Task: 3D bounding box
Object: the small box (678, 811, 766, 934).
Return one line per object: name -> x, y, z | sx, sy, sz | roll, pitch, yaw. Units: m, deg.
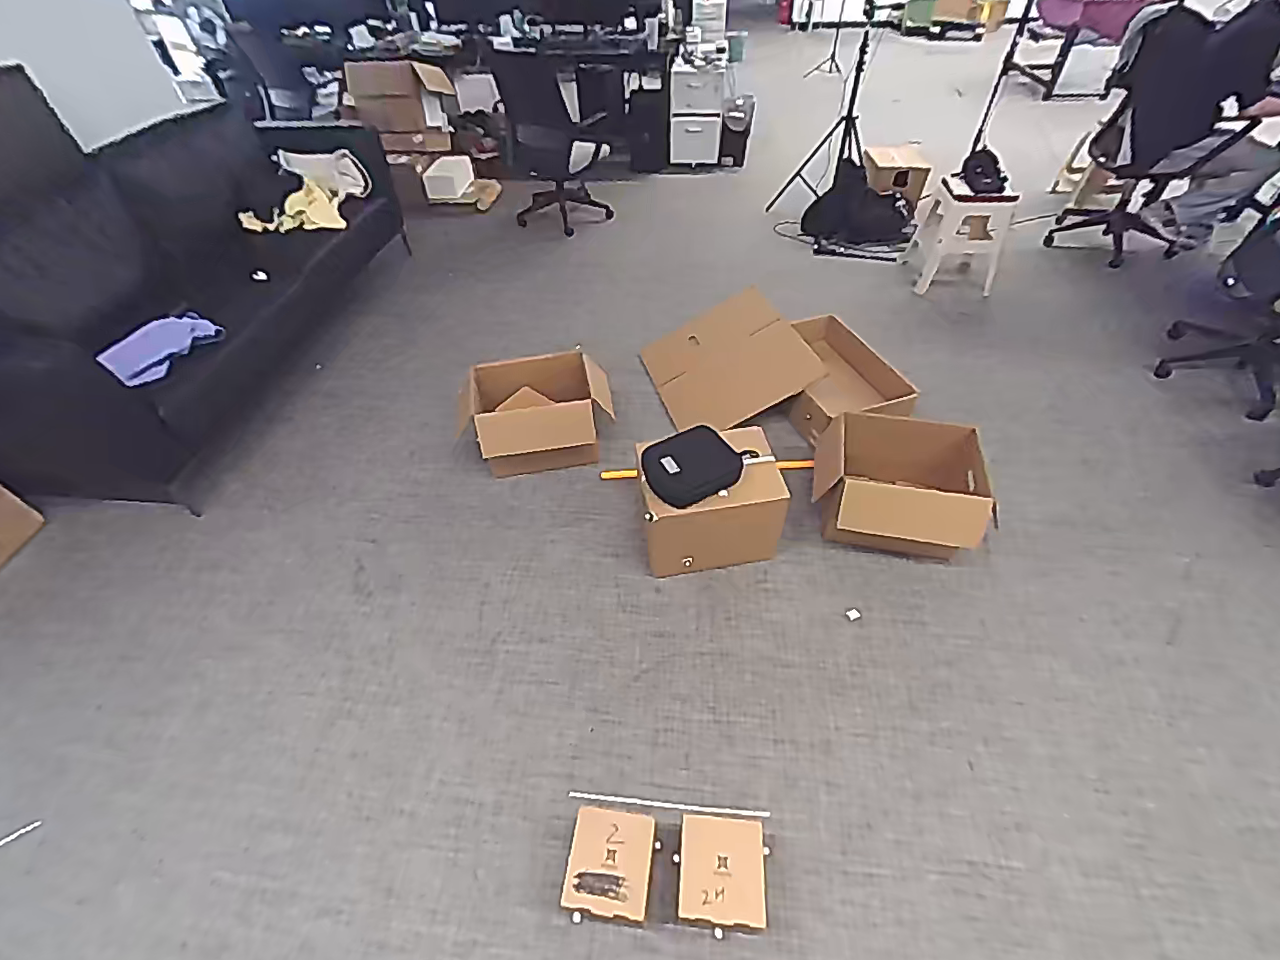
small box -> 0.166, 0.818, 1.127 | 0.168, 0.176, 0.179 | 2, 47, 6
